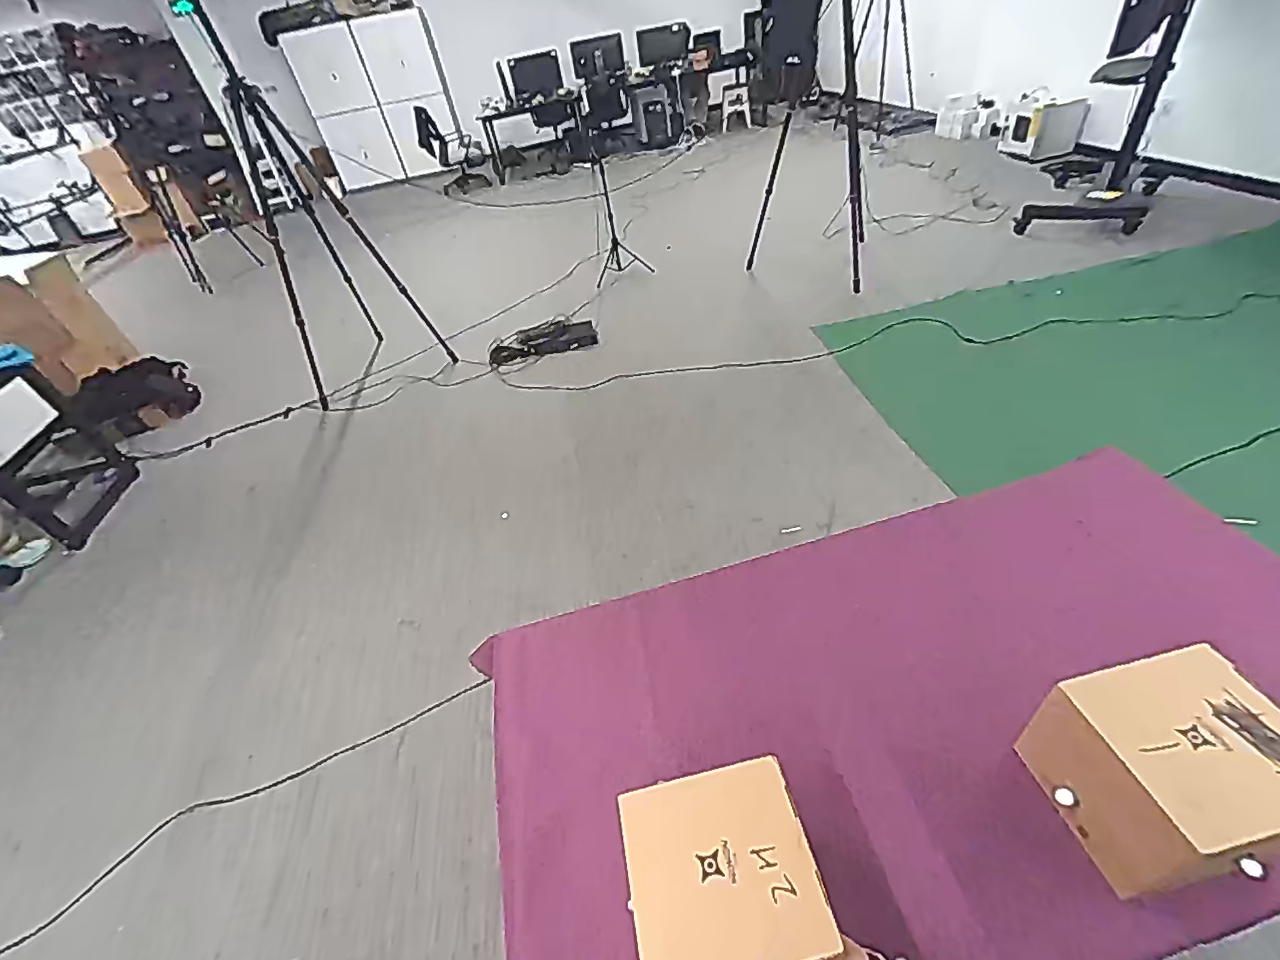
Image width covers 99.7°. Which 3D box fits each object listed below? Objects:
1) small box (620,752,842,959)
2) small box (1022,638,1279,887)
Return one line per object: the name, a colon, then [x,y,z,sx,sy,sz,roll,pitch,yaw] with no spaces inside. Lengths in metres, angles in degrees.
small box: [0.088,0.418,0.562,0.179,0.176,0.168,-13,42,-1]
small box: [0.560,0.300,0.575,0.179,0.176,0.168,-15,41,-1]
